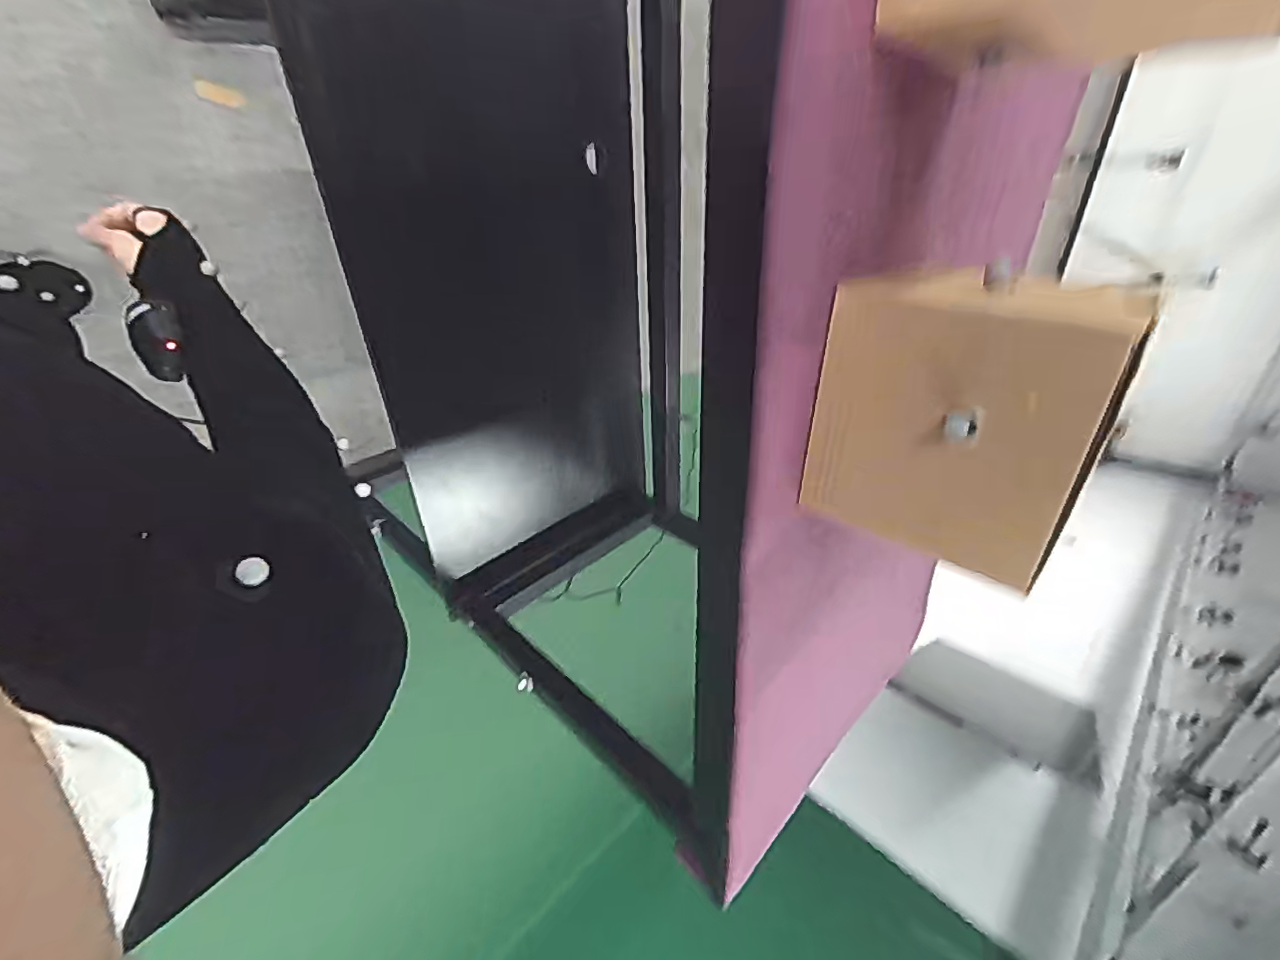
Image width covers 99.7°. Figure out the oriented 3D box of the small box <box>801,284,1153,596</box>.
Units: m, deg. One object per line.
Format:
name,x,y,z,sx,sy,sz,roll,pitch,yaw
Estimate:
small box,0.242,-0.050,0.414,0.168,0.176,0.179,-25,126,-38
